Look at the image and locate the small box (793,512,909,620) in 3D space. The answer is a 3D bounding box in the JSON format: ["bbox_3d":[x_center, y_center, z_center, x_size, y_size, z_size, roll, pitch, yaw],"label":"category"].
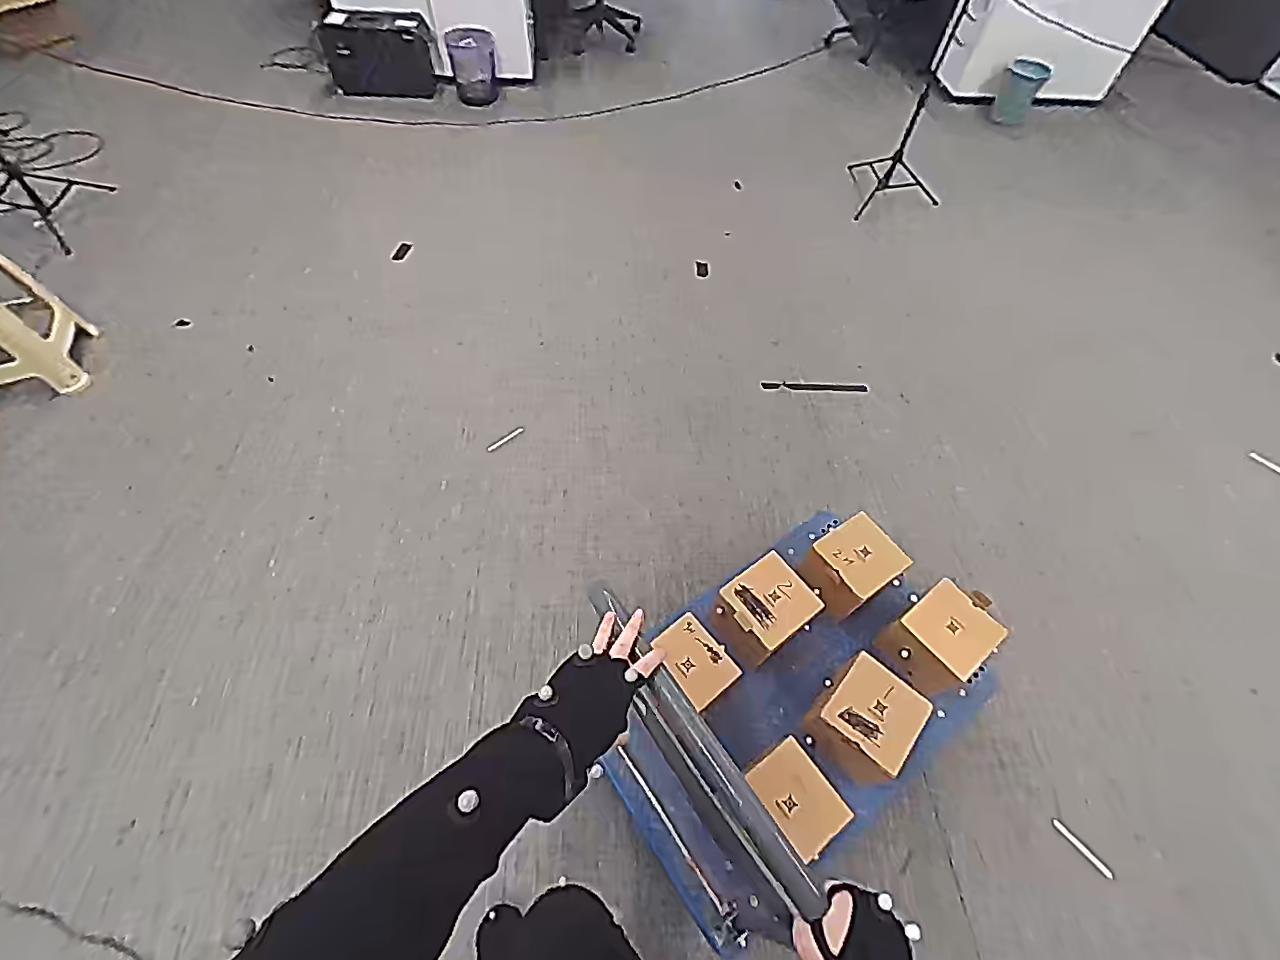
[{"bbox_3d":[0.508,0.214,1.329,0.179,0.176,0.168,-28,63,-19],"label":"small box"}]

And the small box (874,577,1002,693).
[{"bbox_3d":[0.672,0.362,1.248,0.179,0.176,0.168,-32,65,-22],"label":"small box"}]

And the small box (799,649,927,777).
[{"bbox_3d":[0.460,0.498,1.144,0.168,0.176,0.179,39,62,19],"label":"small box"}]

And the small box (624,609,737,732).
[{"bbox_3d":[0.081,0.417,1.169,0.179,0.176,0.168,-33,66,-22],"label":"small box"}]

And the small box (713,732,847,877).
[{"bbox_3d":[0.257,0.626,1.048,0.179,0.176,0.168,-28,64,-21],"label":"small box"}]
